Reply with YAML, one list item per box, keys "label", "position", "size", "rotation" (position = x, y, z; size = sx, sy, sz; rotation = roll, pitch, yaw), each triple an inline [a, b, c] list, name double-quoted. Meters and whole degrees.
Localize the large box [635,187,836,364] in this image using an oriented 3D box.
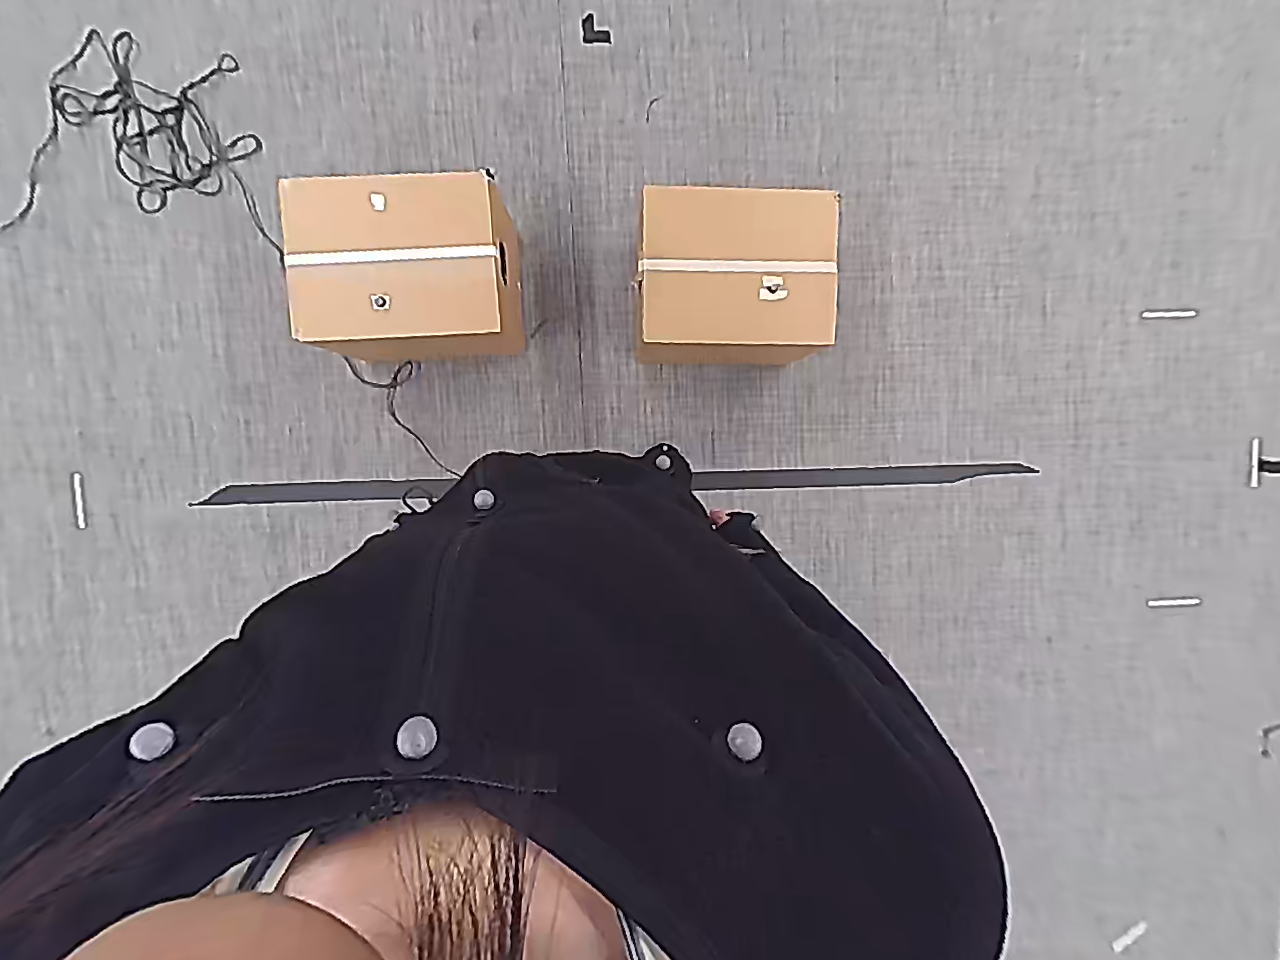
- label: "large box"
  position: [0.197, -0.450, 1.262]
  size: [0.408, 0.320, 0.320]
  rotation: [0, 95, -4]
